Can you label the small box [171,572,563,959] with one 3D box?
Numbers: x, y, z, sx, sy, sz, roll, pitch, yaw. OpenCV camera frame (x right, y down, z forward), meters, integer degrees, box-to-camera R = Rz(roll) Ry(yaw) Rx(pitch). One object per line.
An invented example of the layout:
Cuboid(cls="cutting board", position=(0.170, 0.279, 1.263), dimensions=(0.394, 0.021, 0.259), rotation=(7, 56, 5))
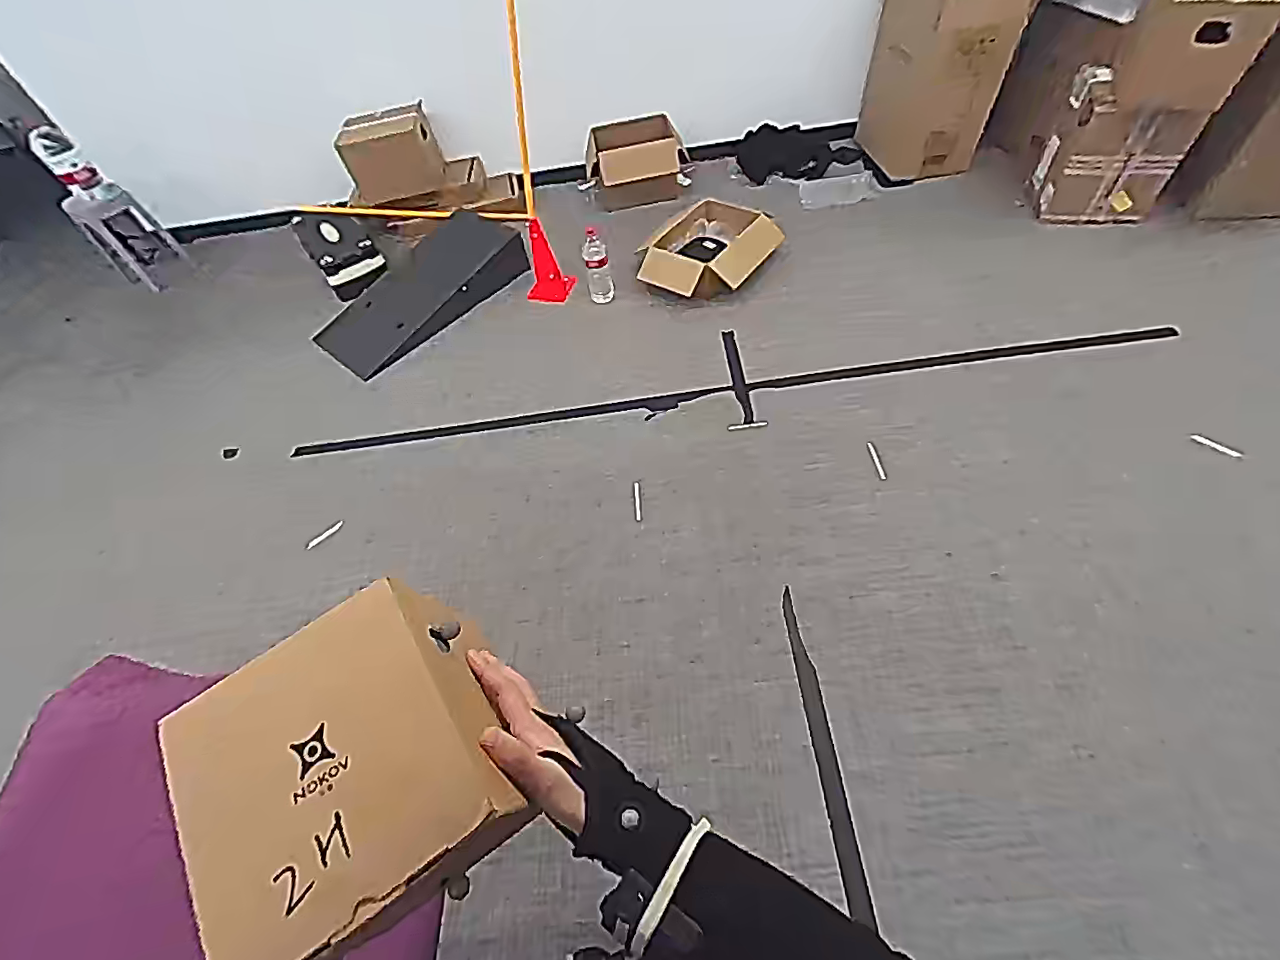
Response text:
Cuboid(cls="small box", position=(-0.181, 0.202, 0.399), dimensions=(0.168, 0.176, 0.179), rotation=(-34, 65, -9))
